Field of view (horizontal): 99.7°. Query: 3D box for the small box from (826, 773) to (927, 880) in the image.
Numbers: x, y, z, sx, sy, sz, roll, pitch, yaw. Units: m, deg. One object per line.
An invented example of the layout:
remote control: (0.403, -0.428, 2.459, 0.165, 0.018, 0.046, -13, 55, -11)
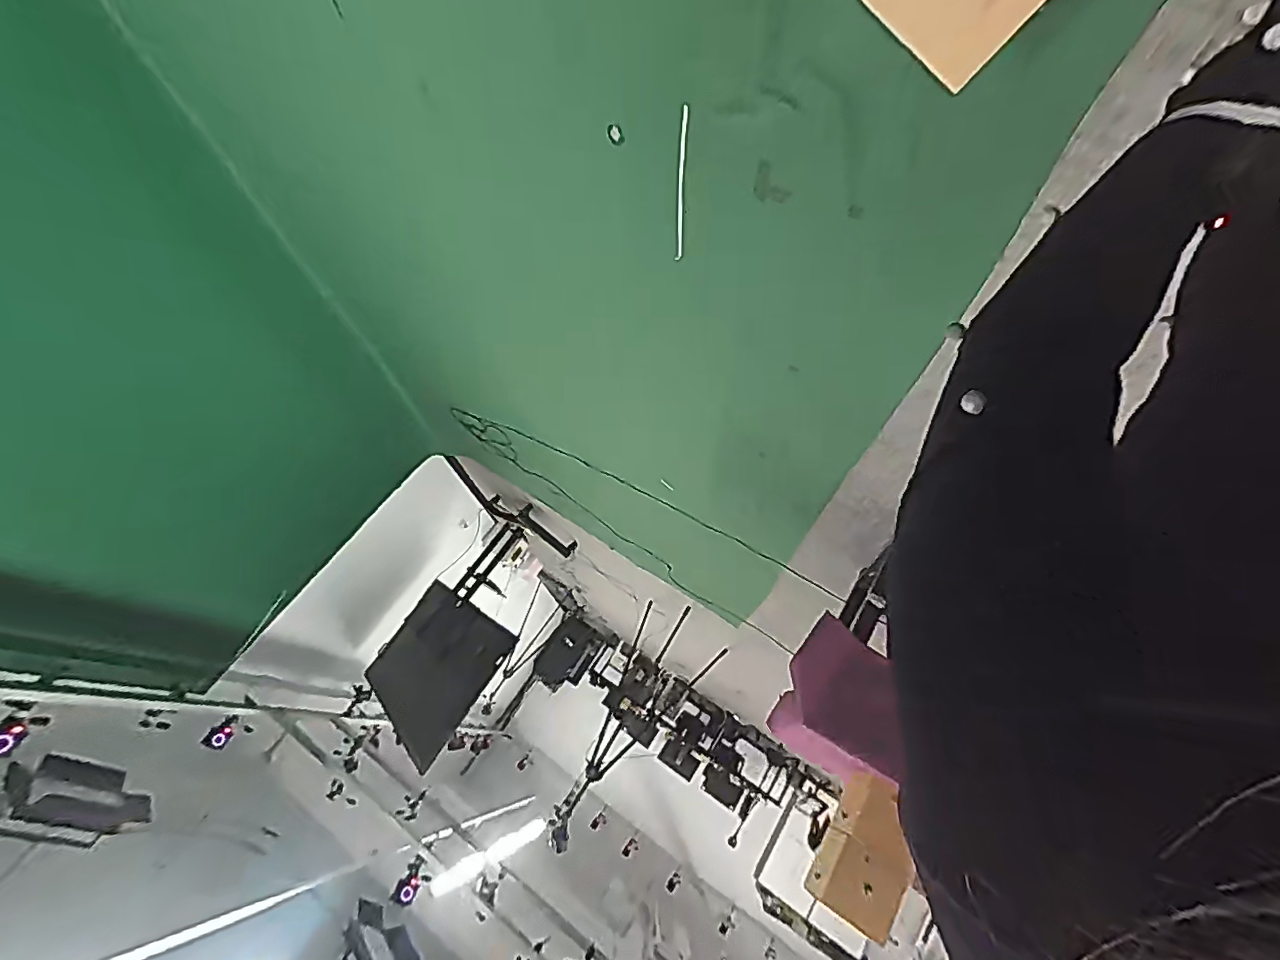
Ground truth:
small box: (0.631, 0.911, 1.443, 0.168, 0.176, 0.179, 31, 158, 14)

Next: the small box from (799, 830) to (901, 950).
small box: (0.538, 1.034, 1.384, 0.168, 0.176, 0.179, 31, 158, 15)

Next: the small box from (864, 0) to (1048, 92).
small box: (0.399, -0.614, 0.621, 0.179, 0.176, 0.168, 39, 159, -7)
